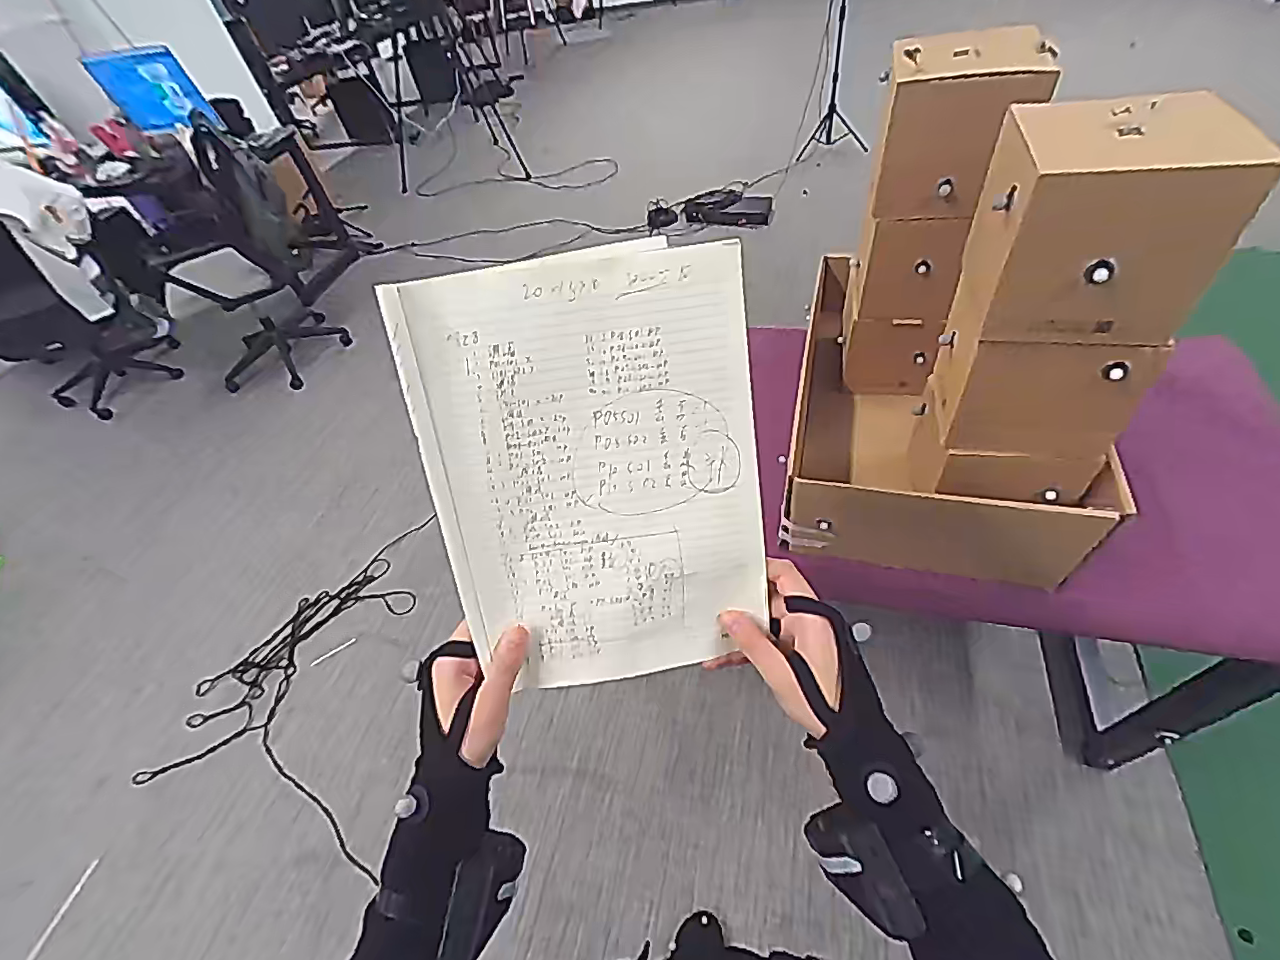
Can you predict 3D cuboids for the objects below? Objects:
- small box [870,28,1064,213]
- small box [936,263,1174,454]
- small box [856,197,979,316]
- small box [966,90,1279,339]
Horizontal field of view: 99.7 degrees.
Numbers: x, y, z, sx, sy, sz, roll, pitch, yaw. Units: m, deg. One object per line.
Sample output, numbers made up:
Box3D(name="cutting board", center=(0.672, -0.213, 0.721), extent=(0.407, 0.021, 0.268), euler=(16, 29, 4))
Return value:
Box3D(name="small box", center=(0.427, -0.483, 0.739), extent=(0.179, 0.176, 0.168), euler=(8, 53, 15))
Box3D(name="small box", center=(0.476, -0.150, 0.661), extent=(0.179, 0.176, 0.168), euler=(7, 51, 16))
Box3D(name="small box", center=(0.451, -0.378, 0.862), extent=(0.179, 0.176, 0.168), euler=(5, 52, 15))
Box3D(name="small box", center=(0.447, -0.258, 0.540), extent=(0.168, 0.176, 0.179), euler=(7, 50, 16))
